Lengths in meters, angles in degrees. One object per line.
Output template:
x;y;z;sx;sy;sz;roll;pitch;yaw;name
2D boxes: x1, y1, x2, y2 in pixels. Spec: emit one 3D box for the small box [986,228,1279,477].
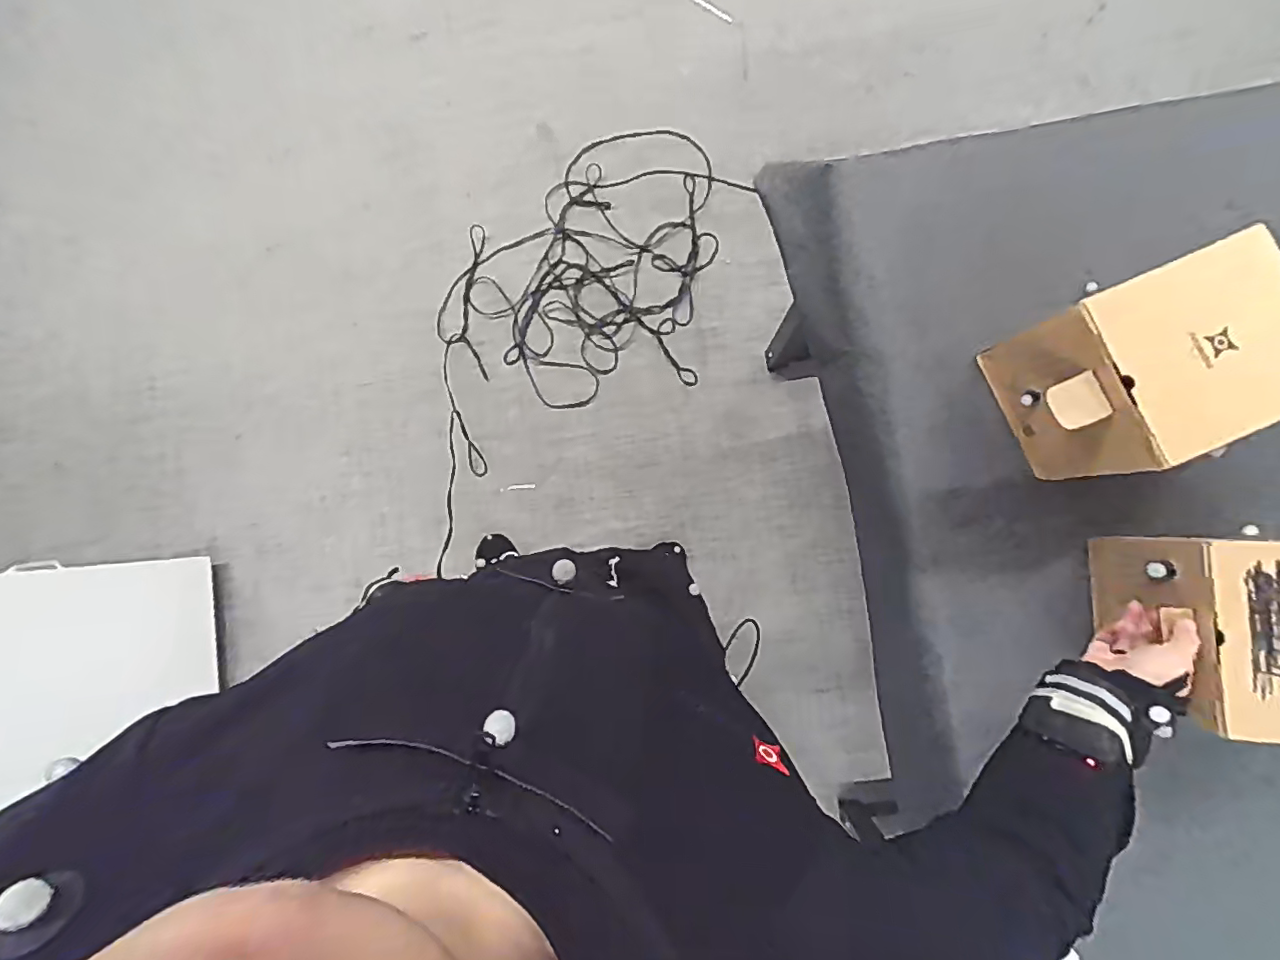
0.510;-0.113;0.553;0.179;0.176;0.168;-24;85;1;small box
